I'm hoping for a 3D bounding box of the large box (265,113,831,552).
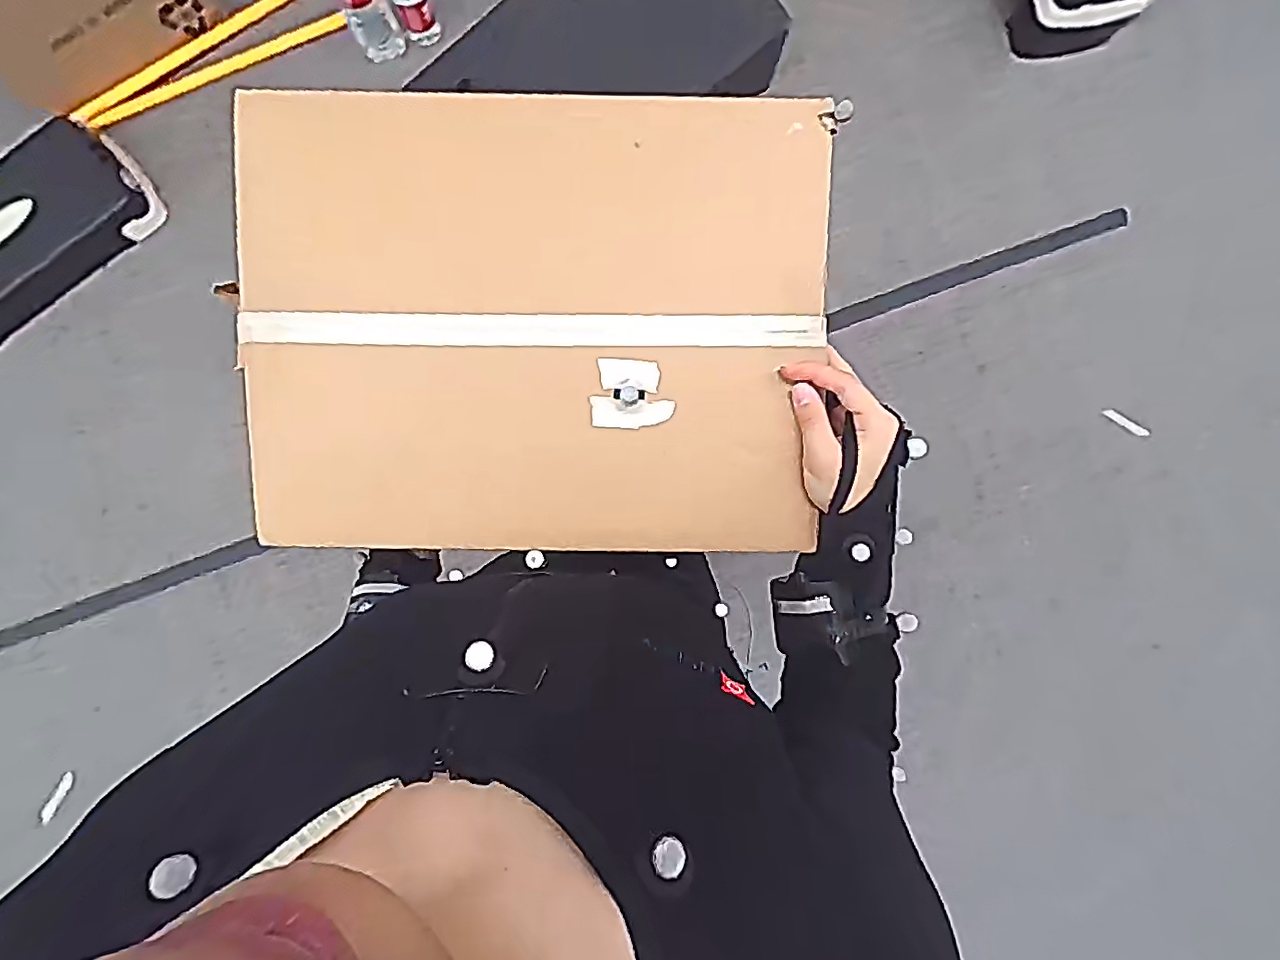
[{"bbox_3d":[-0.068,-0.113,0.537,0.408,0.320,0.320,0,95,-1],"label":"large box"}]
